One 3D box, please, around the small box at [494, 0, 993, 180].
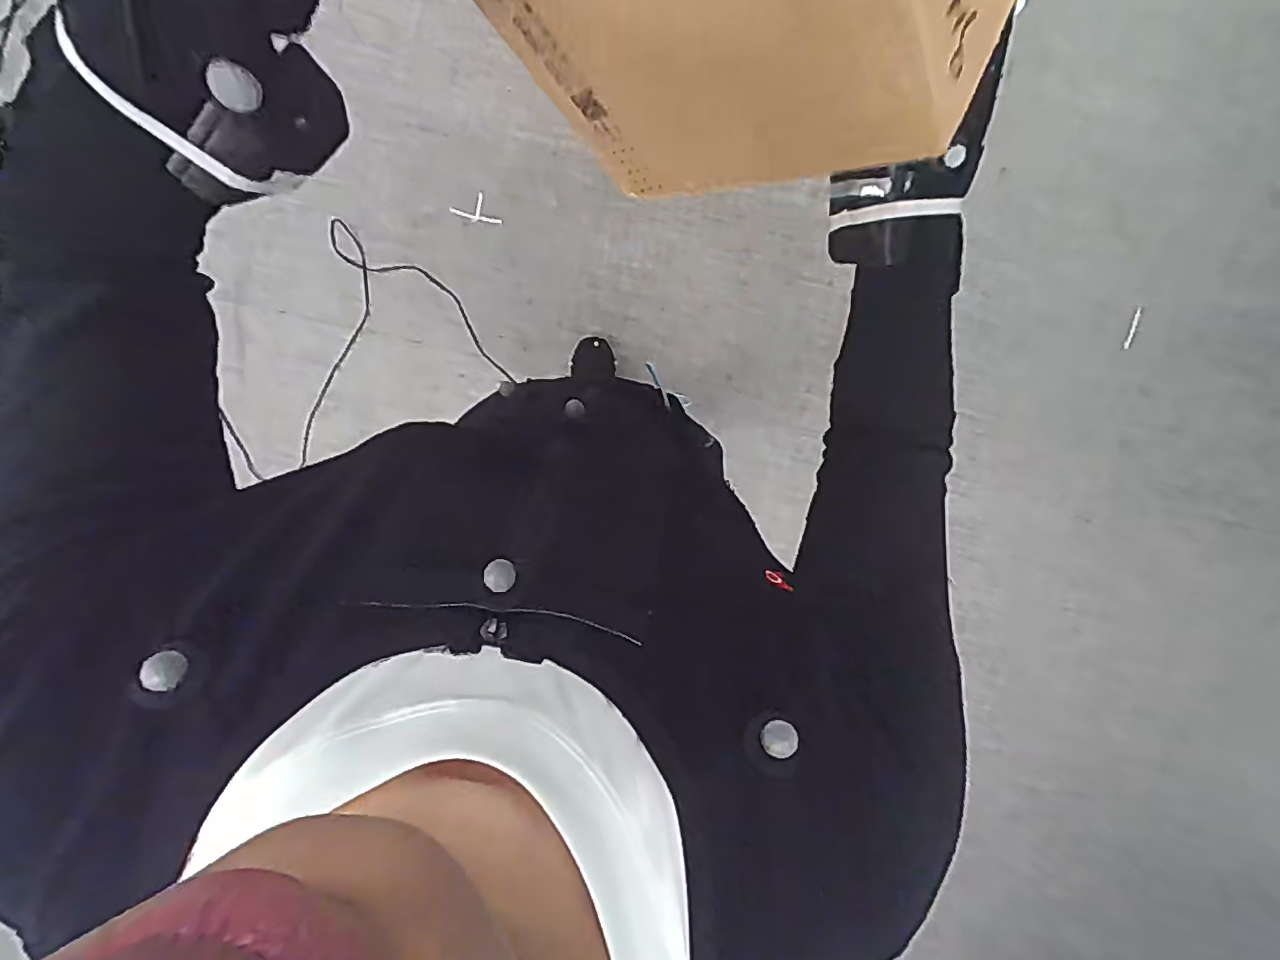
[{"bbox_3d":[0.044,-0.259,0.215,0.168,0.176,0.179,33,77,-47],"label":"small box"}]
